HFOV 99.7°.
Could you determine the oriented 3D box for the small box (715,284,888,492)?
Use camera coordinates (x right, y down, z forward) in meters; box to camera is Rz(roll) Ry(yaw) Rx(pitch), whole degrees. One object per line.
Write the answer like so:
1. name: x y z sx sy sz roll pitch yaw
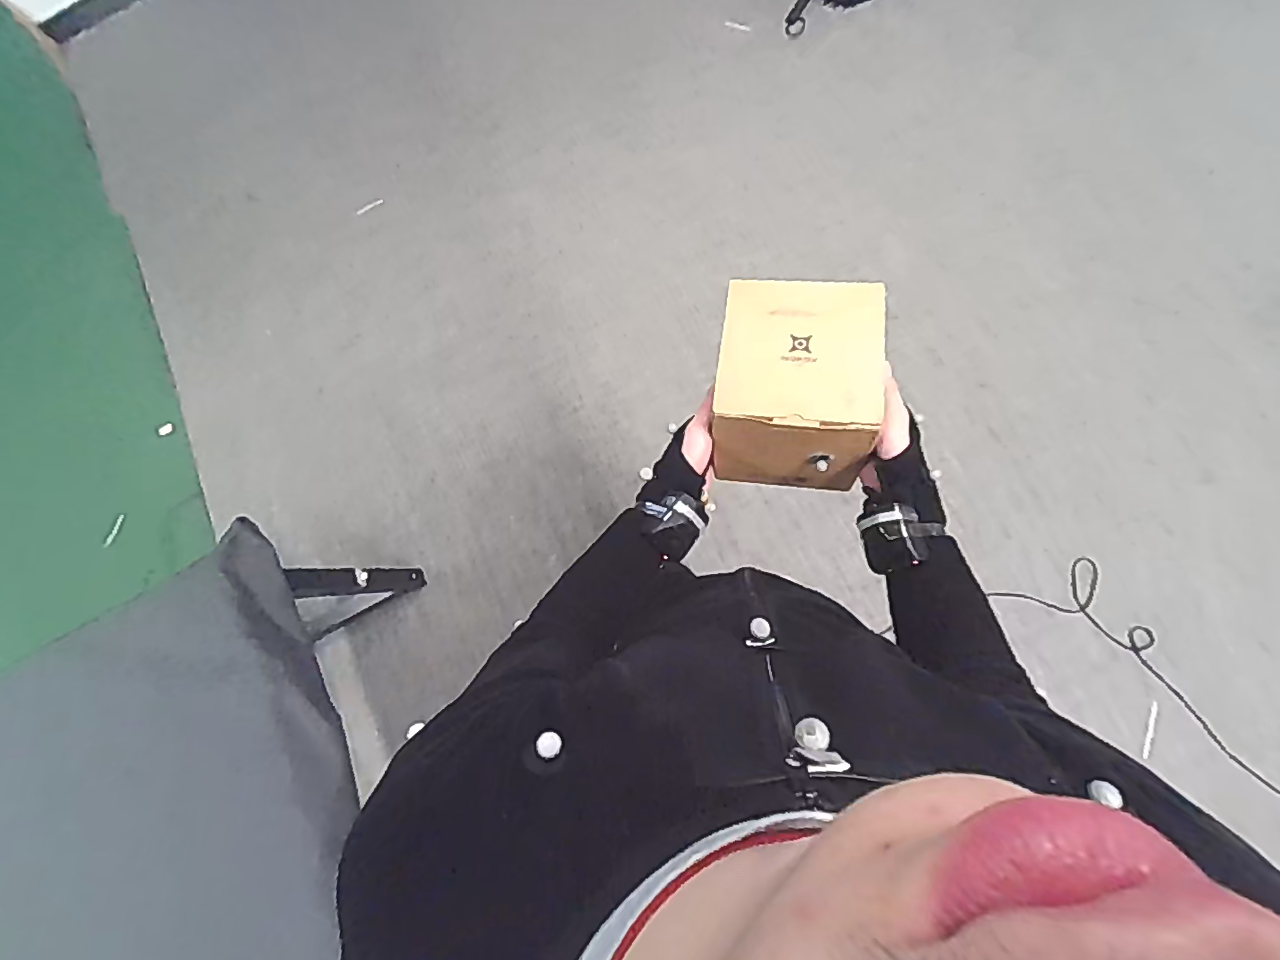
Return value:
1. small box: 0.180 -0.099 0.629 0.168 0.176 0.179 6 66 10
